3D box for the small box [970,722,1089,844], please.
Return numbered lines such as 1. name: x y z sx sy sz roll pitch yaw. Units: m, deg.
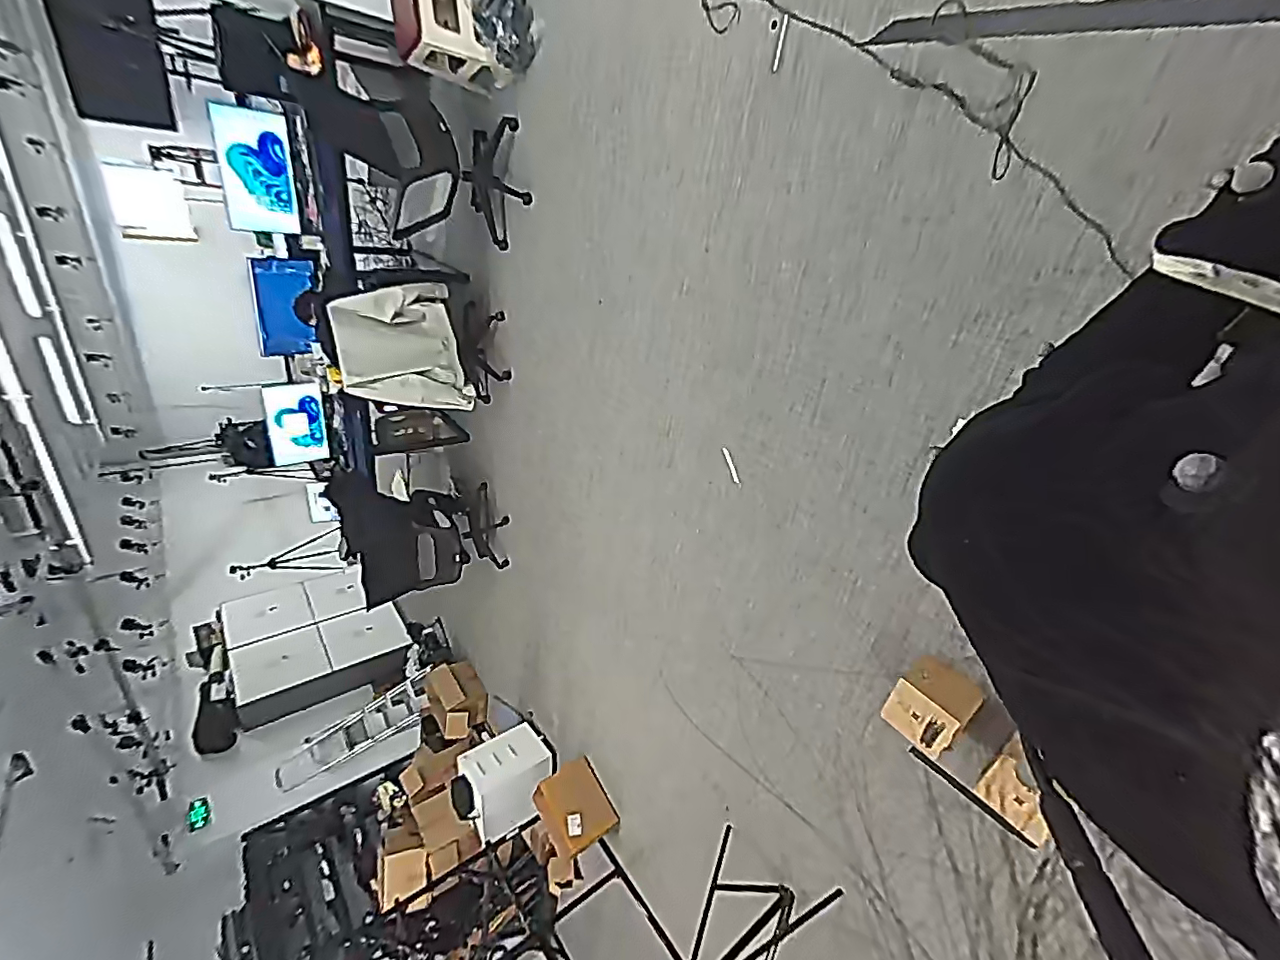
1. small box: 0.988 0.759 1.368 0.168 0.176 0.179 38 129 38
